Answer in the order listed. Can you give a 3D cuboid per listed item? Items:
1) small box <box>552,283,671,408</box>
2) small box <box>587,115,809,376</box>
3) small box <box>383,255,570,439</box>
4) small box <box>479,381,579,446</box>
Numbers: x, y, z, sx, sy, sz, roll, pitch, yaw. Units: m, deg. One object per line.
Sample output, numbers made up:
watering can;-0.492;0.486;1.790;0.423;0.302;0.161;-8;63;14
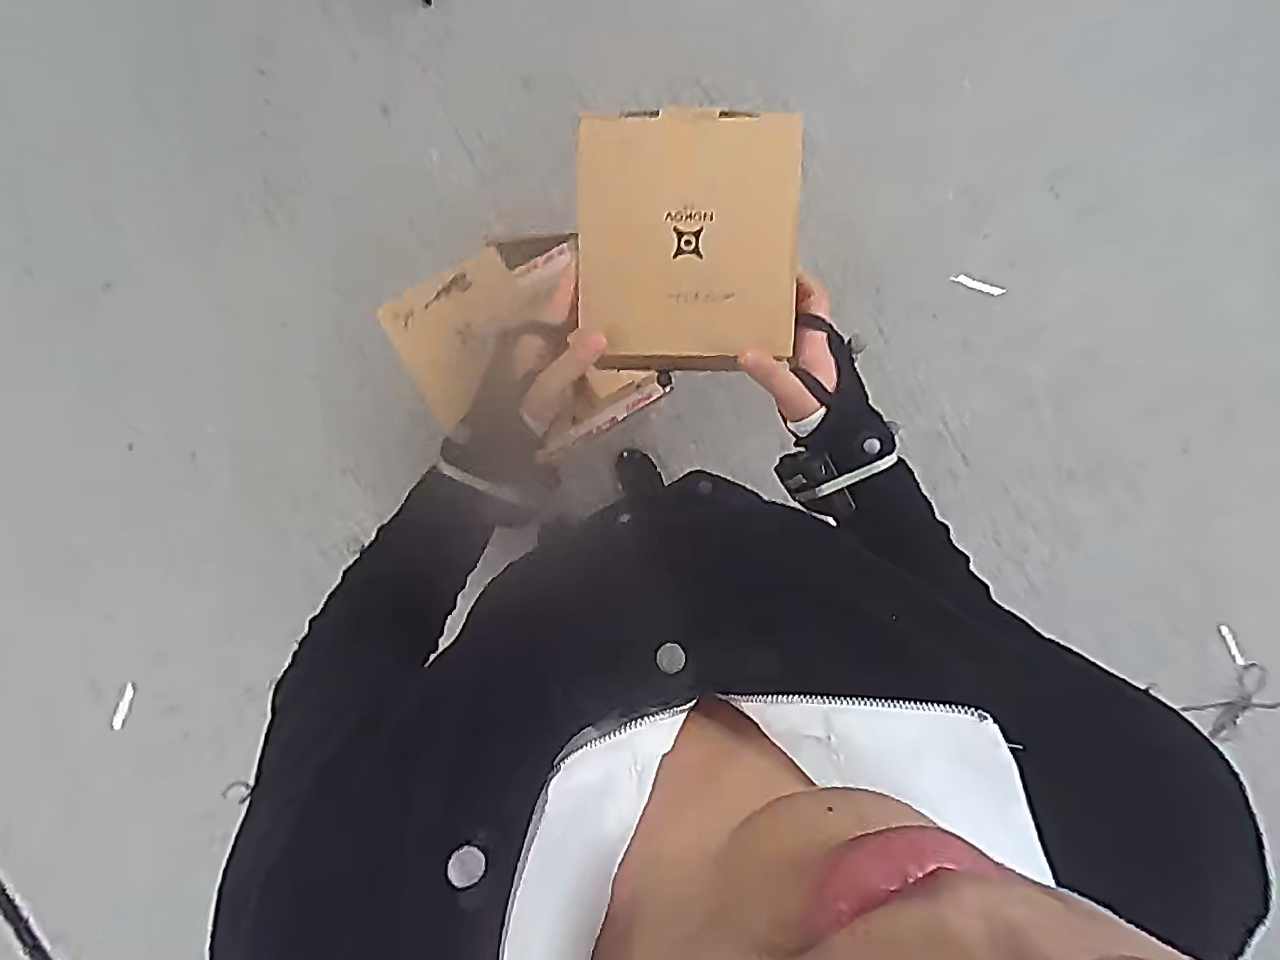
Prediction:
small box;-0.035;-0.239;0.922;0.168;0.176;0.179;-29;95;-3
small box;0.042;-0.190;0.485;0.168;0.176;0.179;1;97;1
small box;-0.208;-0.172;0.748;0.168;0.176;0.179;-29;96;-1
small box;-0.216;-0.170;0.912;0.168;0.176;0.179;-31;96;-1
